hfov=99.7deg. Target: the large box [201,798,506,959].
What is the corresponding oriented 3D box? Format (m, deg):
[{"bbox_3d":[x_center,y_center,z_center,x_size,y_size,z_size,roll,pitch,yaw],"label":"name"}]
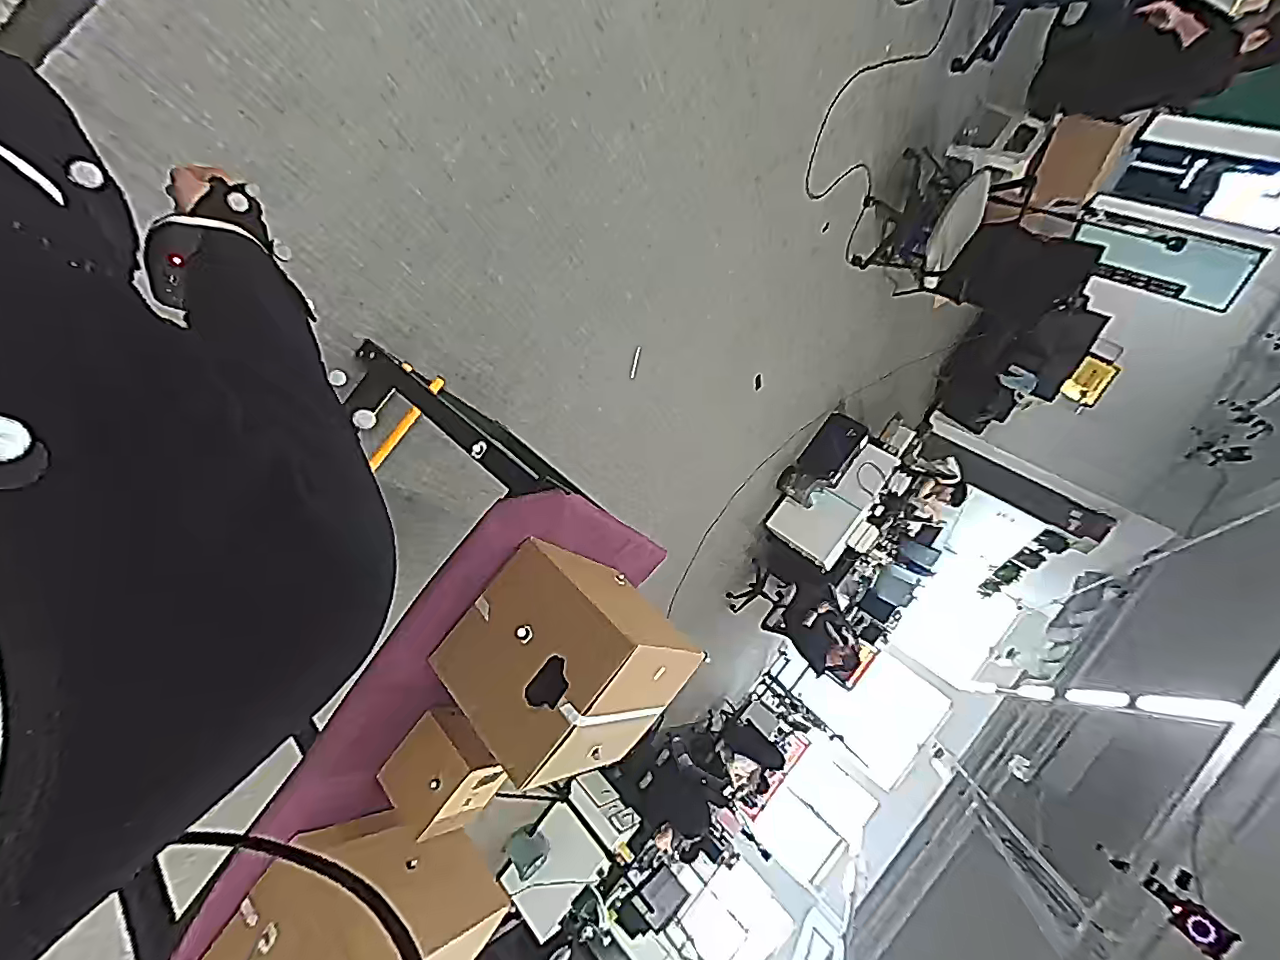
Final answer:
[{"bbox_3d":[-0.566,0.924,1.096,0.320,0.320,0.408,-52,152,-2],"label":"large box"}]
